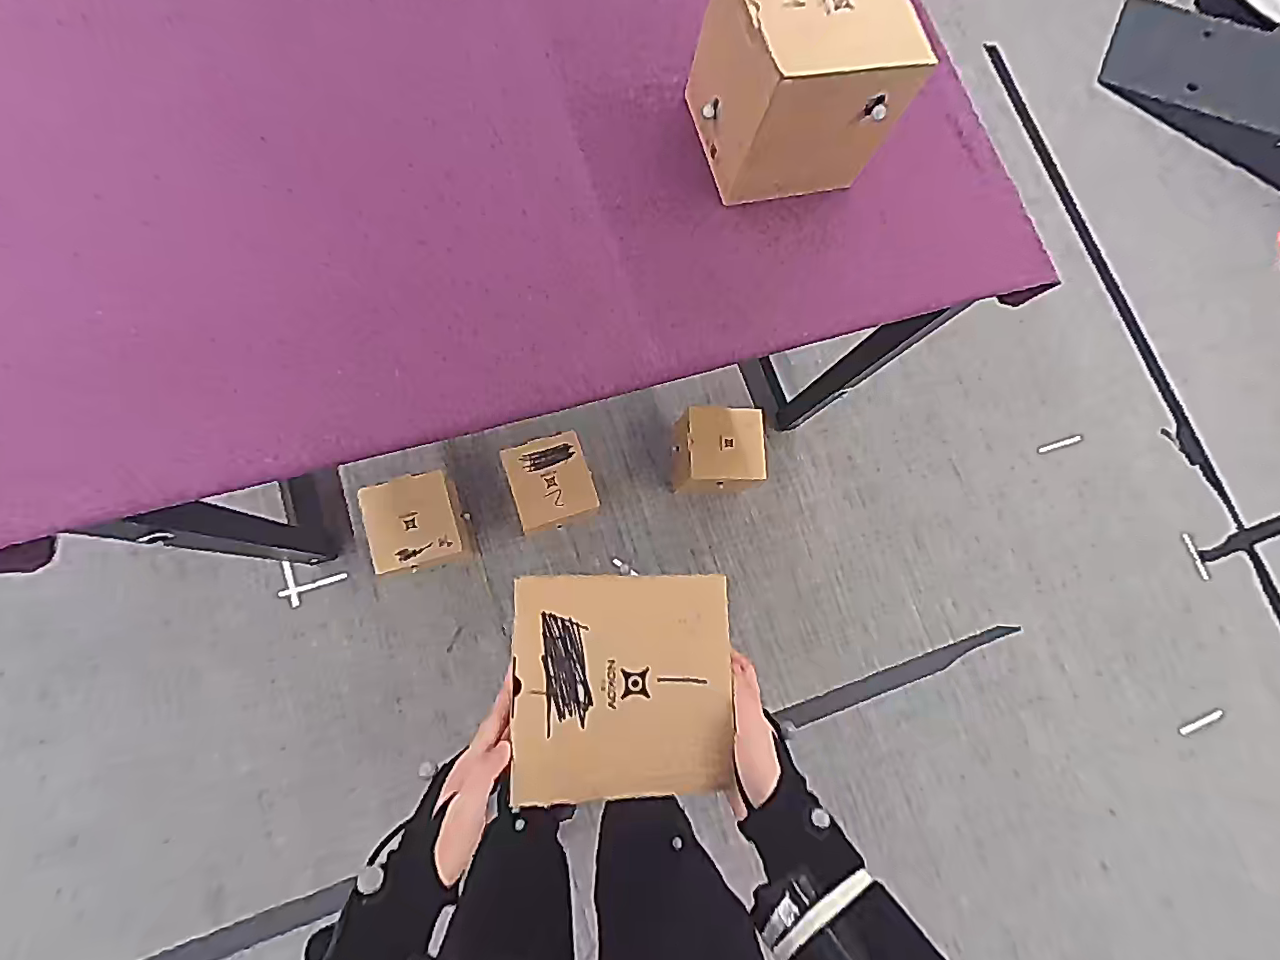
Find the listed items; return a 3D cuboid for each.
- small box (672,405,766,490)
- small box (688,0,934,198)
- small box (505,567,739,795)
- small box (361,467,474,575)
[{"bbox_3d":[0.180,-0.071,1.275,0.179,0.176,0.168,0,78,-8],"label":"small box"},{"bbox_3d":[0.173,-0.447,0.598,0.179,0.176,0.168,-15,80,-11],"label":"small box"},{"bbox_3d":[-0.021,0.169,0.494,0.179,0.176,0.168,0,77,-7],"label":"small box"},{"bbox_3d":[-0.459,0.091,1.136,0.168,0.176,0.179,-16,80,-12],"label":"small box"}]
